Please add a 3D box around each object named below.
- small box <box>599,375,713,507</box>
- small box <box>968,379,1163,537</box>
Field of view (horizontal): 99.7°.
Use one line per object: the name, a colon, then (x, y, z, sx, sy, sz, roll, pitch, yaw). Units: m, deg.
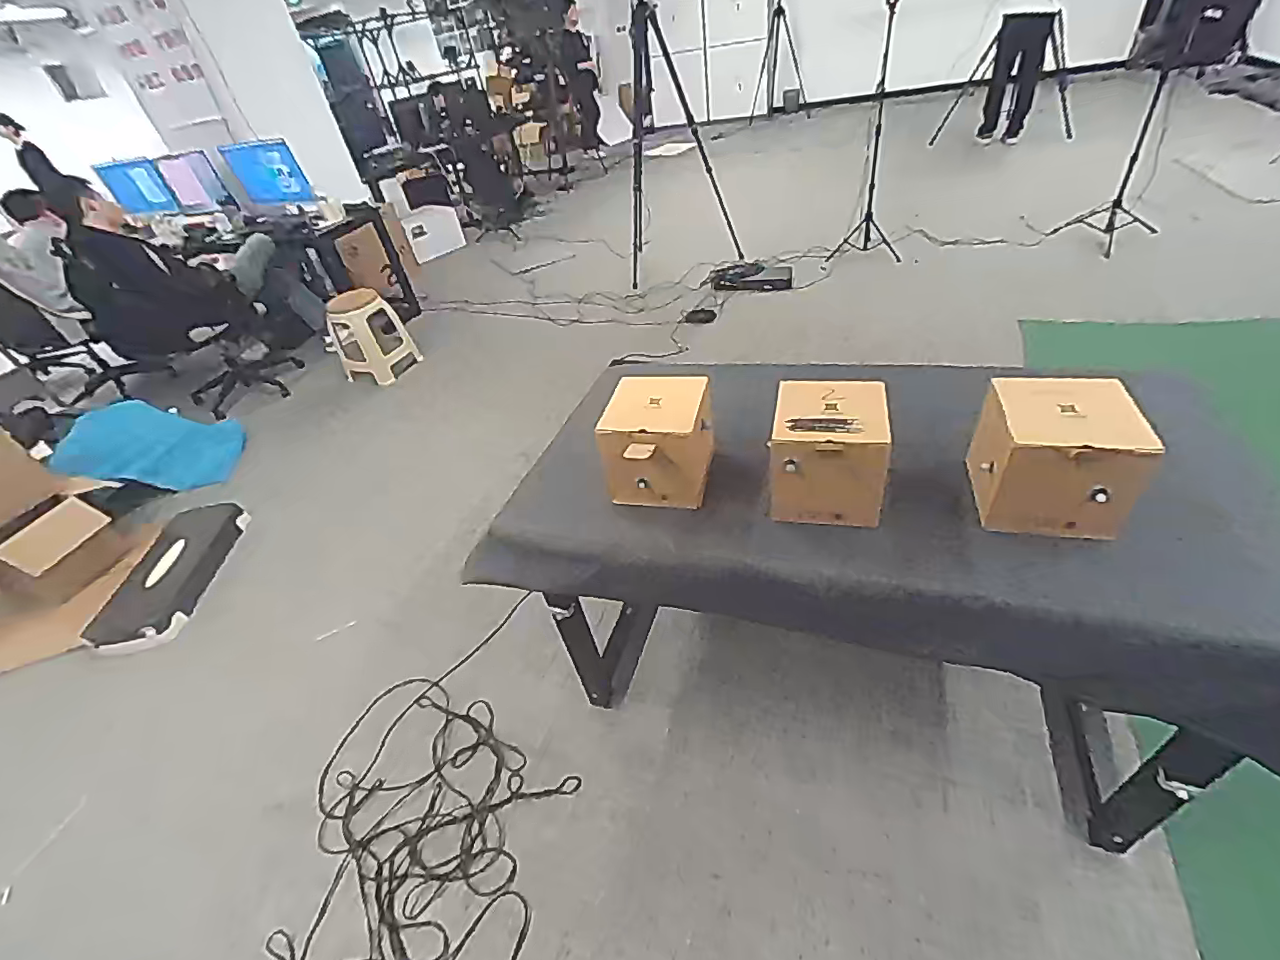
small box: (0.039, -0.074, 0.985, 0.168, 0.176, 0.179, 4, 42, 16)
small box: (0.610, -0.035, 0.806, 0.168, 0.176, 0.179, 5, 41, 17)
